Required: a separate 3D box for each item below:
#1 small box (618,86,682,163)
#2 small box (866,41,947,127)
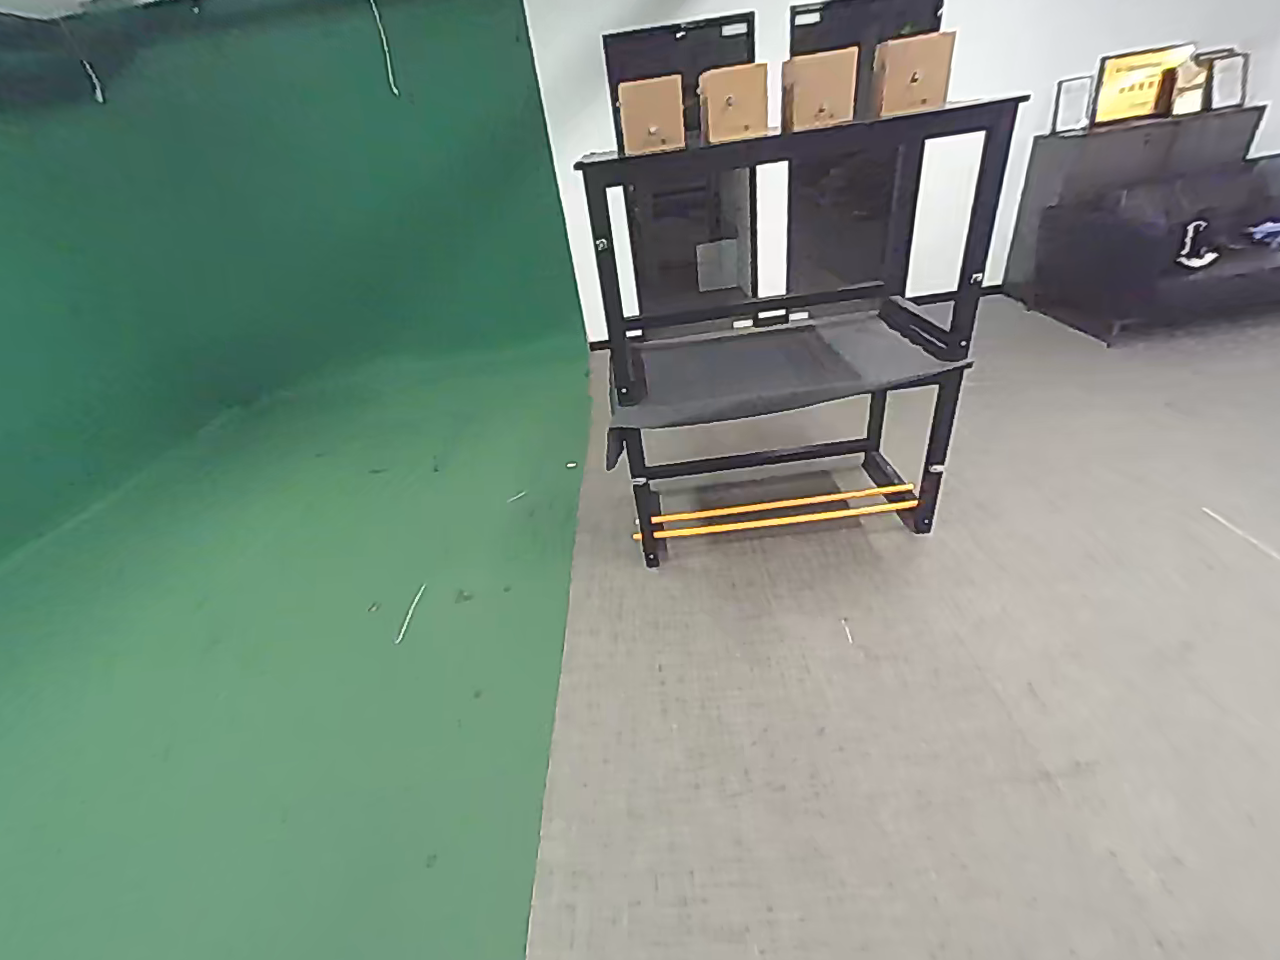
[{"bbox_3d":[0.028,-1.029,1.574,0.168,0.176,0.179,-8,33,1],"label":"small box"},{"bbox_3d":[0.745,-1.110,1.528,0.168,0.176,0.179,-1,33,11],"label":"small box"}]
